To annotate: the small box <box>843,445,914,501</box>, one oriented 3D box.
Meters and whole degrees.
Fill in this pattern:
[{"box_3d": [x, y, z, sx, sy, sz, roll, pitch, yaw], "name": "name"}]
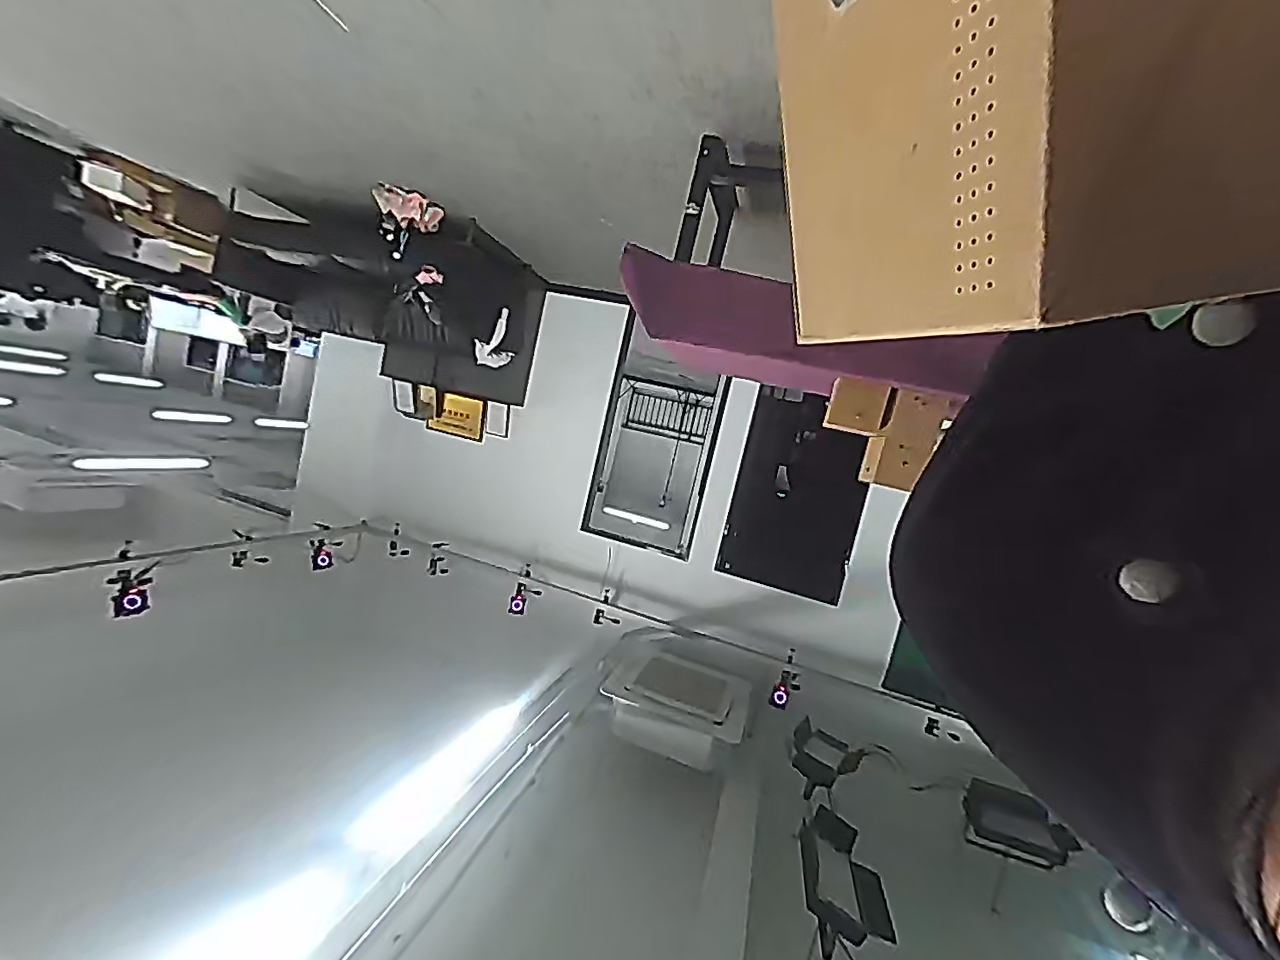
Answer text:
[{"box_3d": [0.851, -0.029, 1.928, 0.168, 0.176, 0.179, 15, -176, 3], "name": "small box"}]
